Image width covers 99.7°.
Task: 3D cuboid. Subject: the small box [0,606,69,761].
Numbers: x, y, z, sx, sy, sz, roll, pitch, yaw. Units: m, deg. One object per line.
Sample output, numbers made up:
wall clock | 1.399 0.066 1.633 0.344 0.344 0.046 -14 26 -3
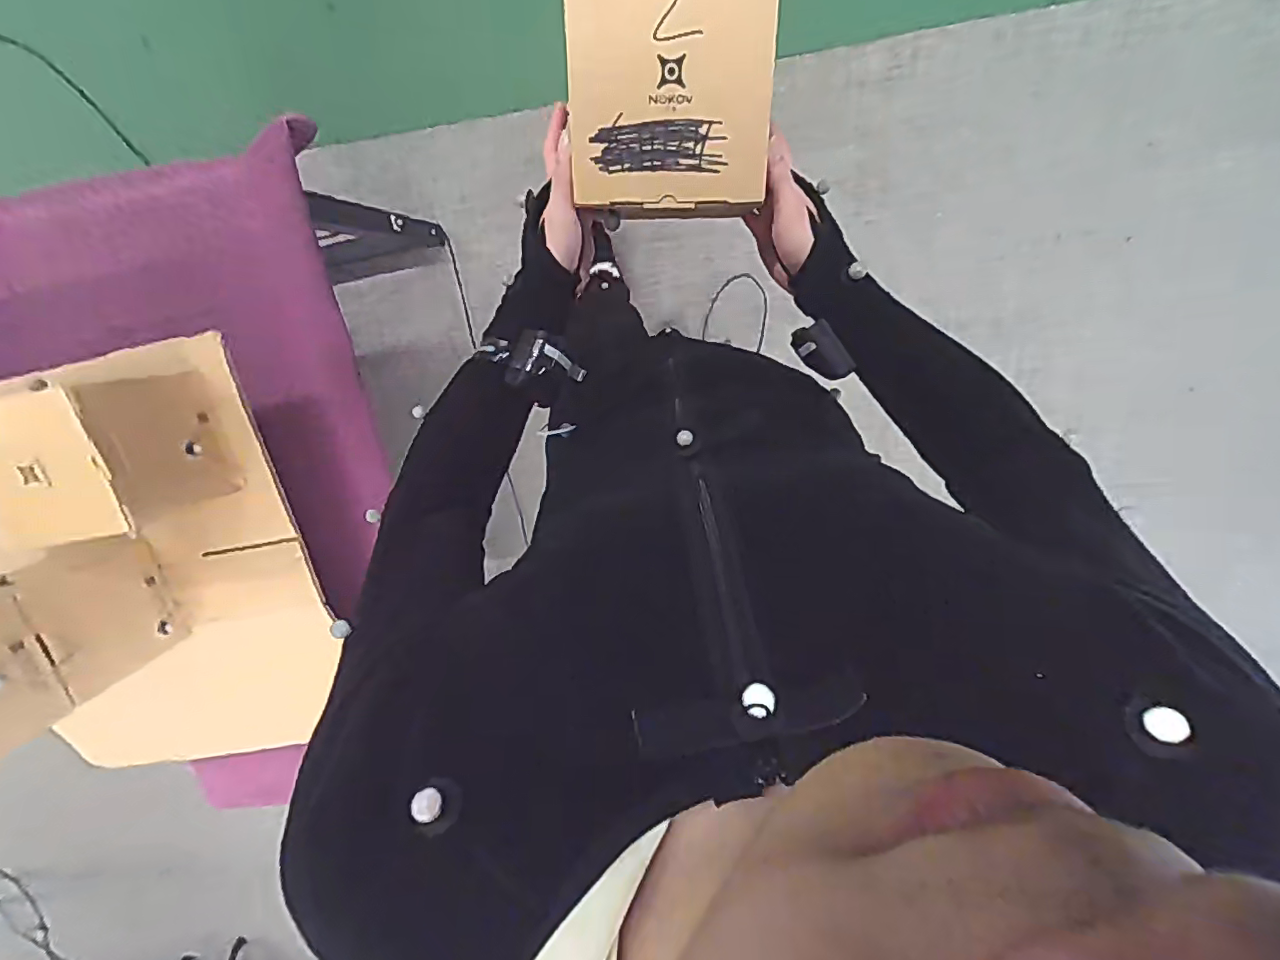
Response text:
small box | -0.803 0.255 0.581 0.179 0.176 0.168 -10 105 6

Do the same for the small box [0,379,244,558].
small box | -0.649 -0.022 0.664 0.179 0.176 0.168 -10 105 6

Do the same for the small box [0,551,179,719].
small box | -0.788 0.209 0.738 0.179 0.176 0.168 -10 104 8
